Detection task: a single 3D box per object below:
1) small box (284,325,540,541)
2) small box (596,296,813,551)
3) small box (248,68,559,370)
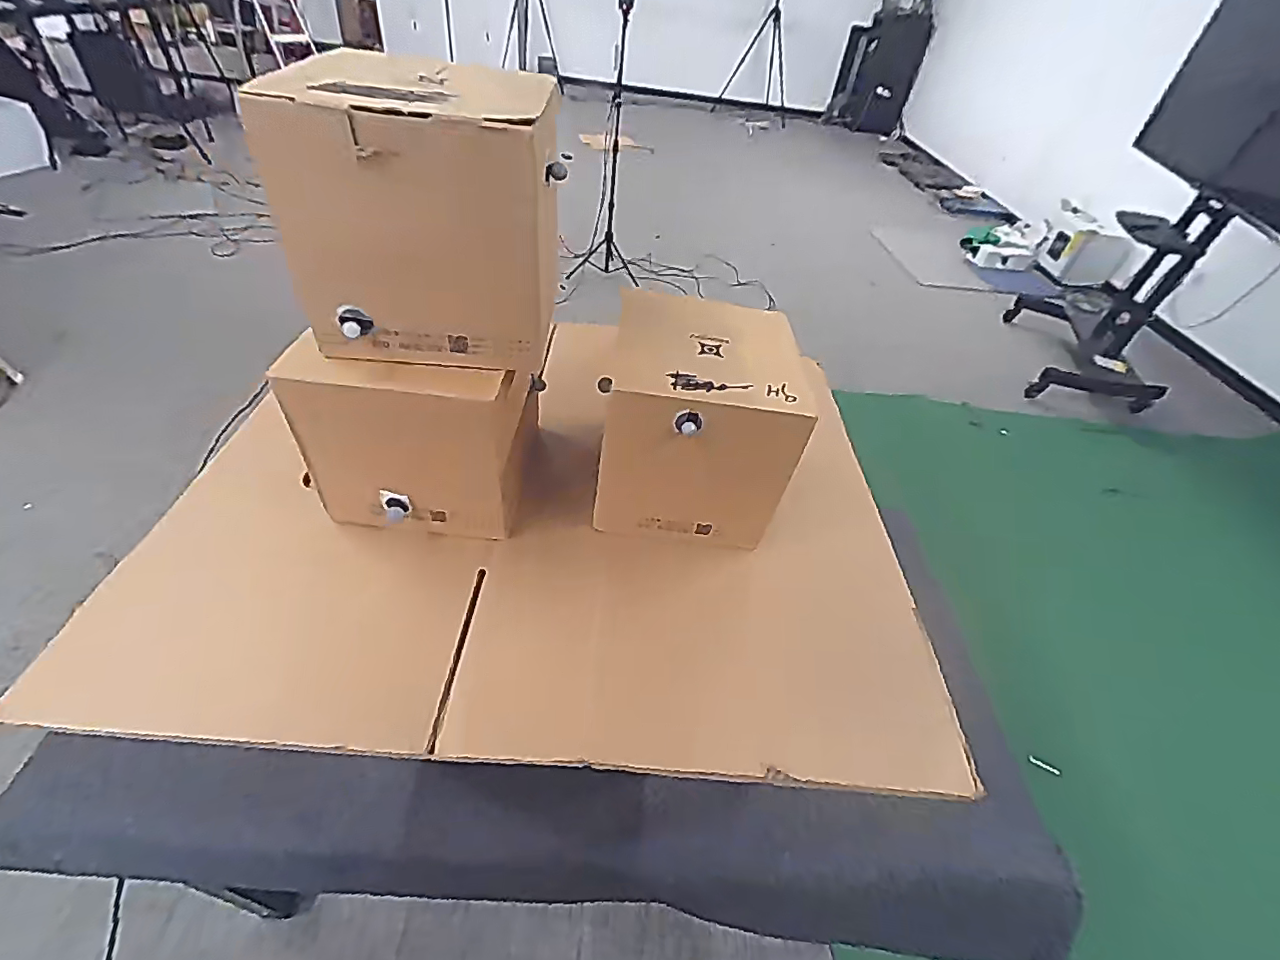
[{"bbox_3d":[-0.190,-0.066,0.518,0.168,0.176,0.179,5,46,-3],"label":"small box"},{"bbox_3d":[0.050,-0.056,0.538,0.168,0.176,0.179,8,43,-3],"label":"small box"},{"bbox_3d":[-0.154,-0.203,0.429,0.168,0.176,0.179,3,43,-6],"label":"small box"}]
